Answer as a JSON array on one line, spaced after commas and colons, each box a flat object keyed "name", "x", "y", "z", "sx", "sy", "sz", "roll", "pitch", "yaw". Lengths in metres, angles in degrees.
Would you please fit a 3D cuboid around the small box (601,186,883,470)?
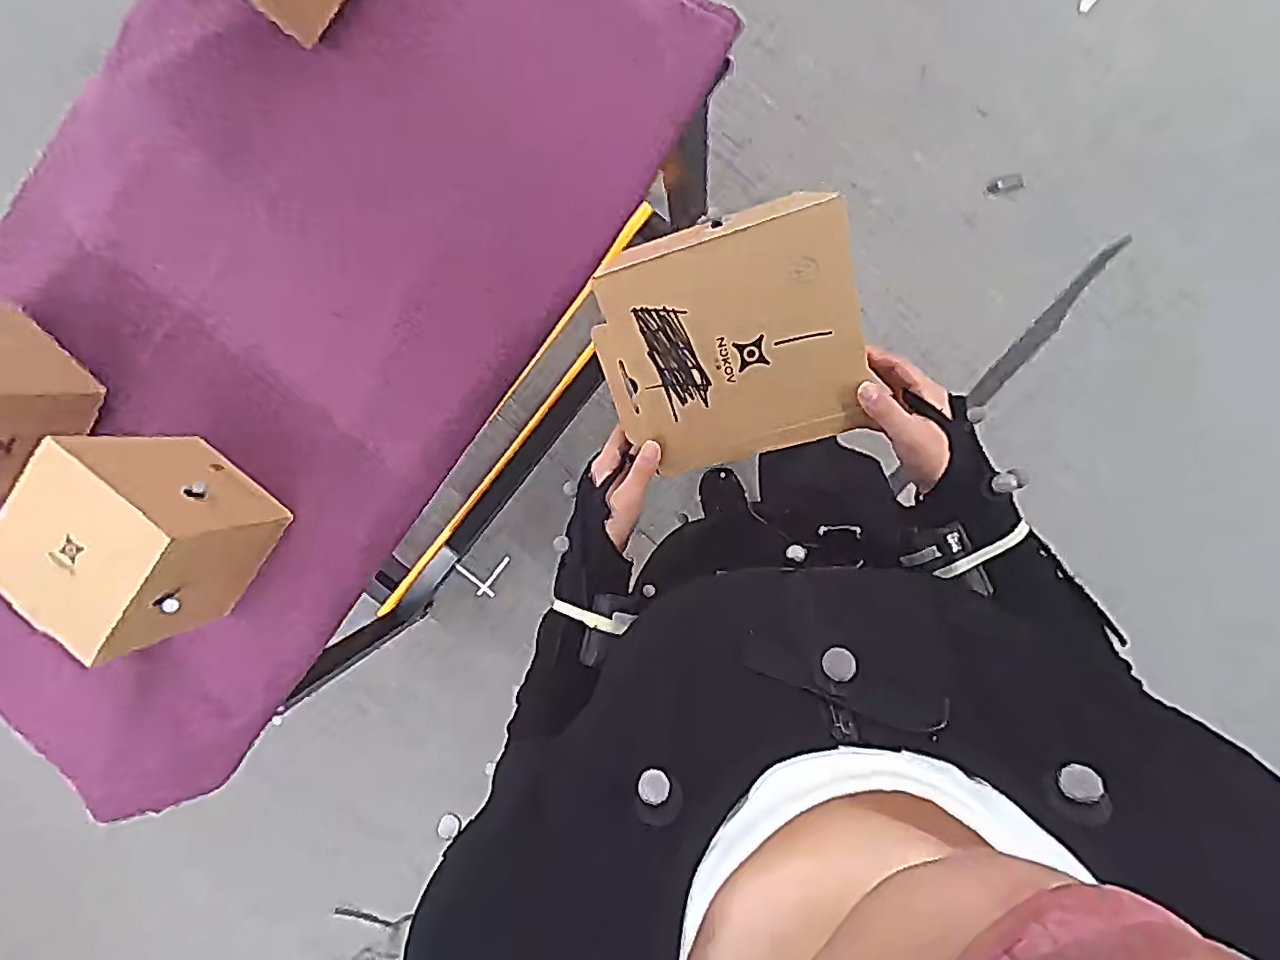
[{"name": "small box", "x": 0.084, "y": -0.132, "z": 0.457, "sx": 0.179, "sy": 0.176, "sz": 0.168, "roll": -13, "pitch": 117, "yaw": 12}]

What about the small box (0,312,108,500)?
[{"name": "small box", "x": -0.784, "y": -0.088, "z": 0.612, "sx": 0.176, "sy": 0.168, "sz": 0.179, "roll": 43, "pitch": 106, "yaw": 2}]

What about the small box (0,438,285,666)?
[{"name": "small box", "x": -0.555, "y": 0.066, "z": 0.617, "sx": 0.168, "sy": 0.176, "sz": 0.179, "roll": 38, "pitch": 98, "yaw": 2}]
